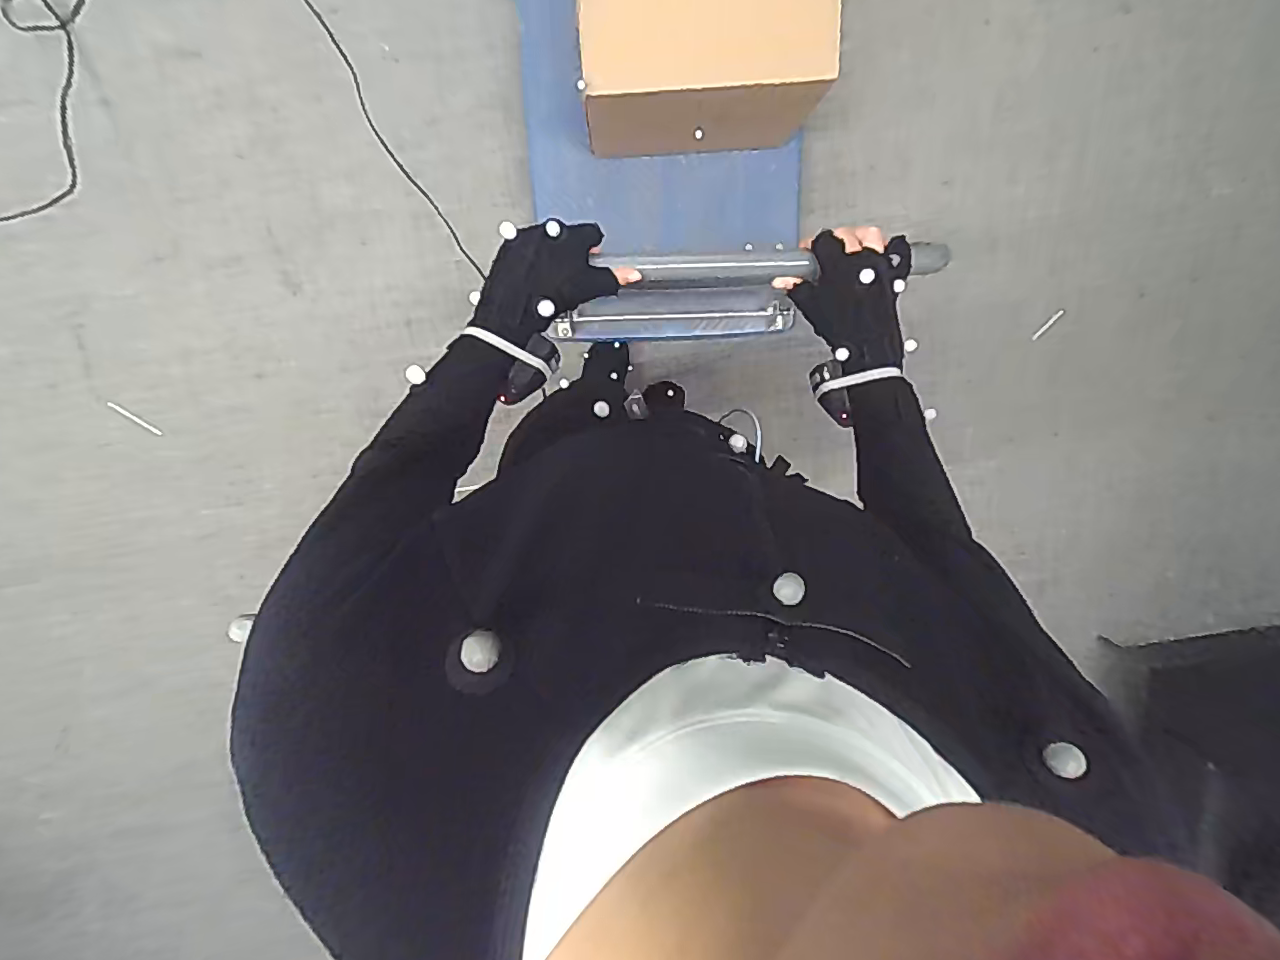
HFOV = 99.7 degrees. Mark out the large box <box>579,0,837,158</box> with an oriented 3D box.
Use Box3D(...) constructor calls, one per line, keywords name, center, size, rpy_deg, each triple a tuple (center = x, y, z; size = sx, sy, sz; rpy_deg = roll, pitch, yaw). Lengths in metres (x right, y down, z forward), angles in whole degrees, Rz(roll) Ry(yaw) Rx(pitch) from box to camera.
Box3D(name="large box", center=(0.102, -0.806, 0.967), size=(0.408, 0.320, 0.320), rpy_deg=(-4, 103, 0))
